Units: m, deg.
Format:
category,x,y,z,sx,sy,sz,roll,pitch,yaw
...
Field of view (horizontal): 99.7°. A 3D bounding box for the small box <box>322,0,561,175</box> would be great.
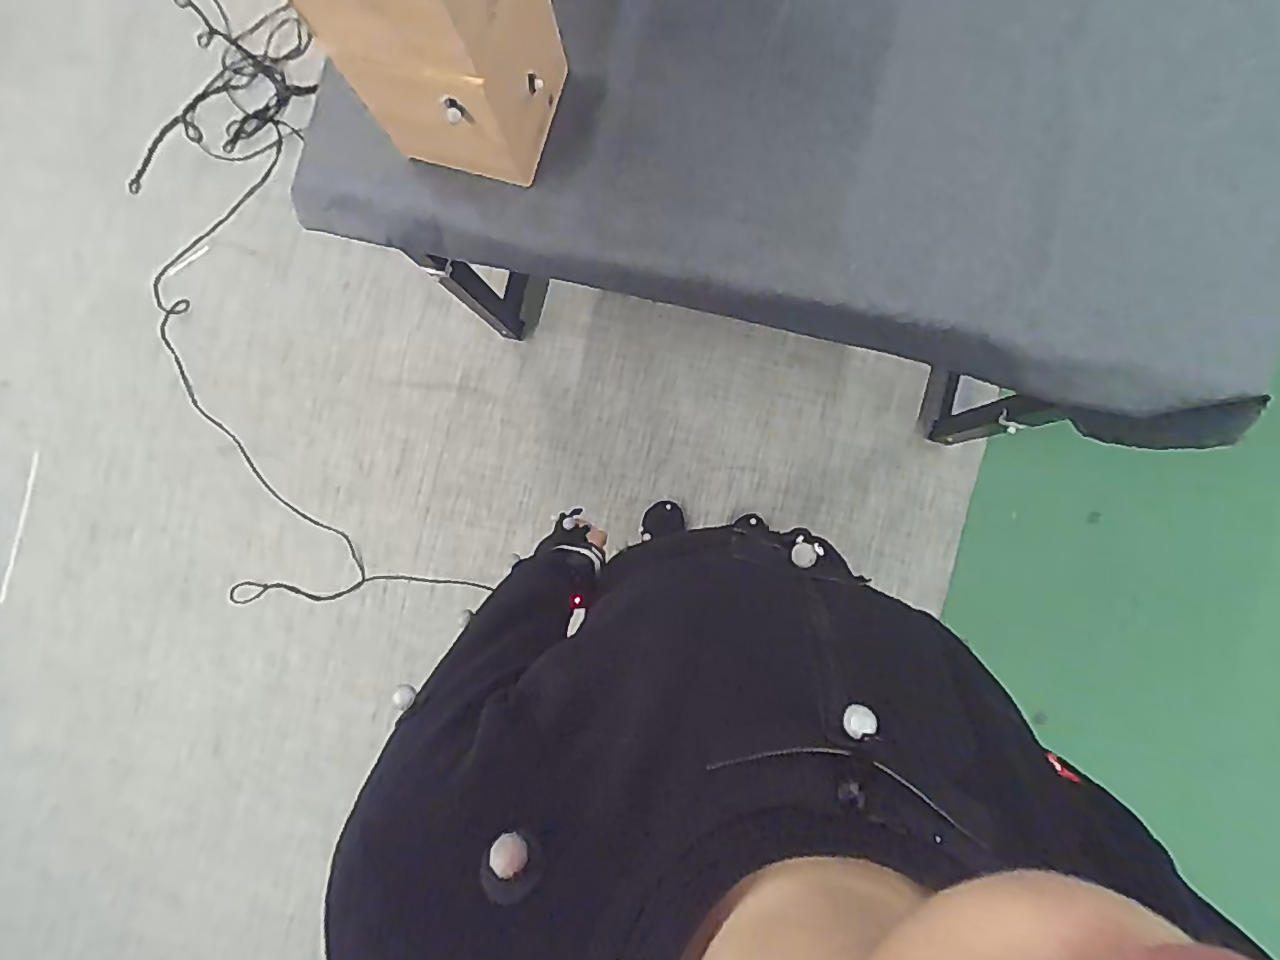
category,x,y,z,sx,sy,sz,roll,pitch,yaw
small box,-0.204,-0.481,0.610,0.179,0.176,0.168,17,88,5
